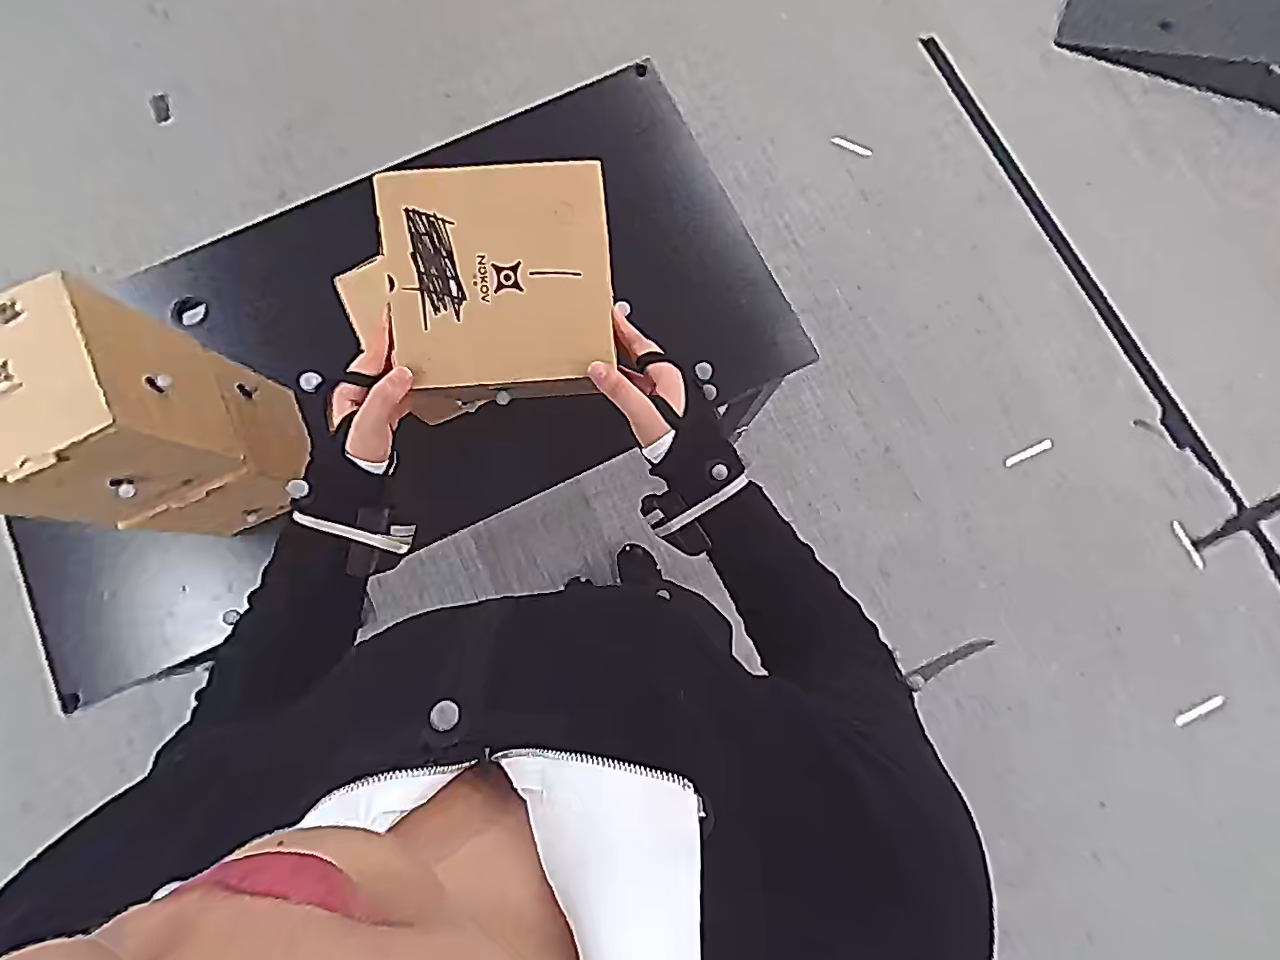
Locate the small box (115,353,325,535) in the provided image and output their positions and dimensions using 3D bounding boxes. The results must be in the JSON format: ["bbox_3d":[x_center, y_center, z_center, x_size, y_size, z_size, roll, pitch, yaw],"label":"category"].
[{"bbox_3d":[-0.574,-0.038,0.737,0.168,0.176,0.179,-24,81,-3],"label":"small box"}]

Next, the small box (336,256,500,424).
[{"bbox_3d":[-0.281,-0.204,0.765,0.168,0.176,0.179,-27,82,-3],"label":"small box"}]

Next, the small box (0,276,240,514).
[{"bbox_3d":[-0.581,-0.072,0.576,0.168,0.176,0.179,-27,82,-4],"label":"small box"}]

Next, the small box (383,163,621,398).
[{"bbox_3d":[-0.110,-0.166,0.502,0.179,0.176,0.168,-3,95,-1],"label":"small box"}]
